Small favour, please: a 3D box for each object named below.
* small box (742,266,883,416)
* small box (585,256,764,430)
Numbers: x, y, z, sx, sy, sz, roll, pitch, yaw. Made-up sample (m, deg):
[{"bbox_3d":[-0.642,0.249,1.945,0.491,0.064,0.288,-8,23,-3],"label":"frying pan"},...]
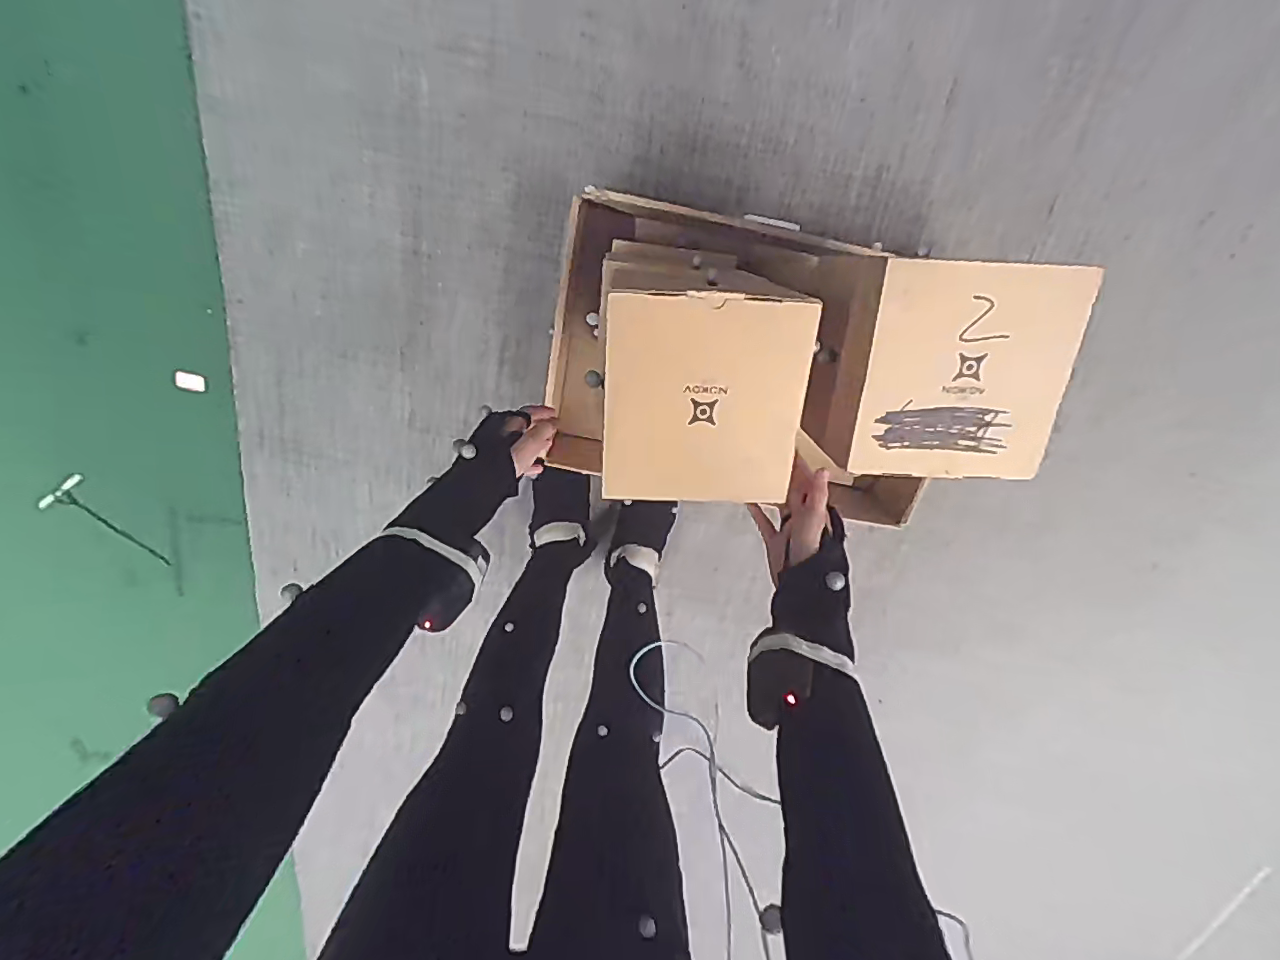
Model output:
[{"bbox_3d":[0.228,-0.217,0.815,0.168,0.176,0.179,11,114,-3],"label":"small box"},{"bbox_3d":[0.032,-0.172,0.654,0.179,0.176,0.168,6,114,-3],"label":"small box"}]
